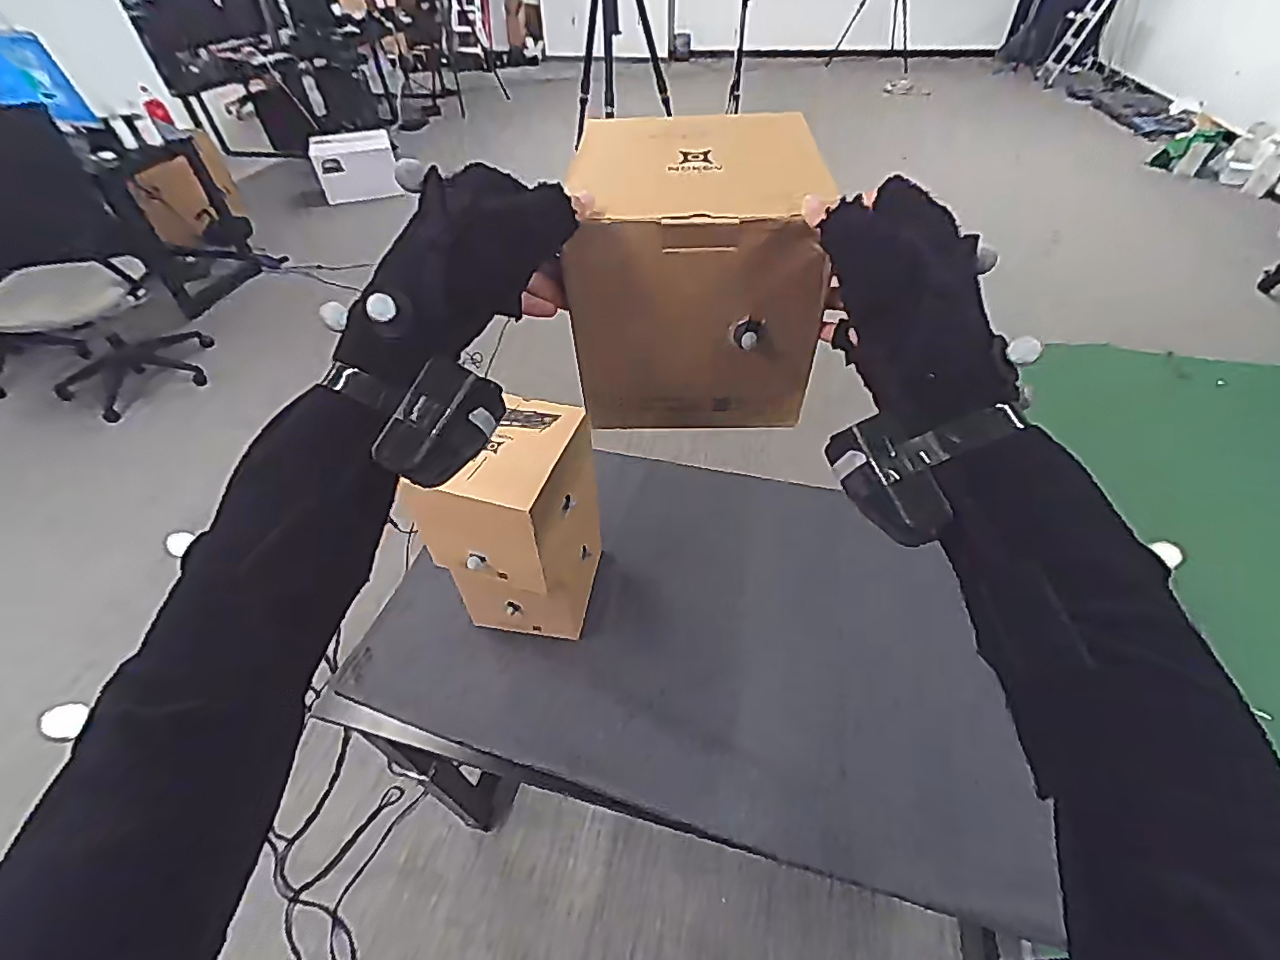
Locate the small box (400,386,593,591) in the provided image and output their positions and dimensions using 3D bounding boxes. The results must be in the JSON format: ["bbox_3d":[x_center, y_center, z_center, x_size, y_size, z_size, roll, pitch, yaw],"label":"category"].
[{"bbox_3d":[-0.164,0.011,0.689,0.168,0.176,0.179,12,49,12],"label":"small box"}]

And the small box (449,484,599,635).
[{"bbox_3d":[-0.159,0.113,0.818,0.168,0.176,0.179,7,46,6],"label":"small box"}]
